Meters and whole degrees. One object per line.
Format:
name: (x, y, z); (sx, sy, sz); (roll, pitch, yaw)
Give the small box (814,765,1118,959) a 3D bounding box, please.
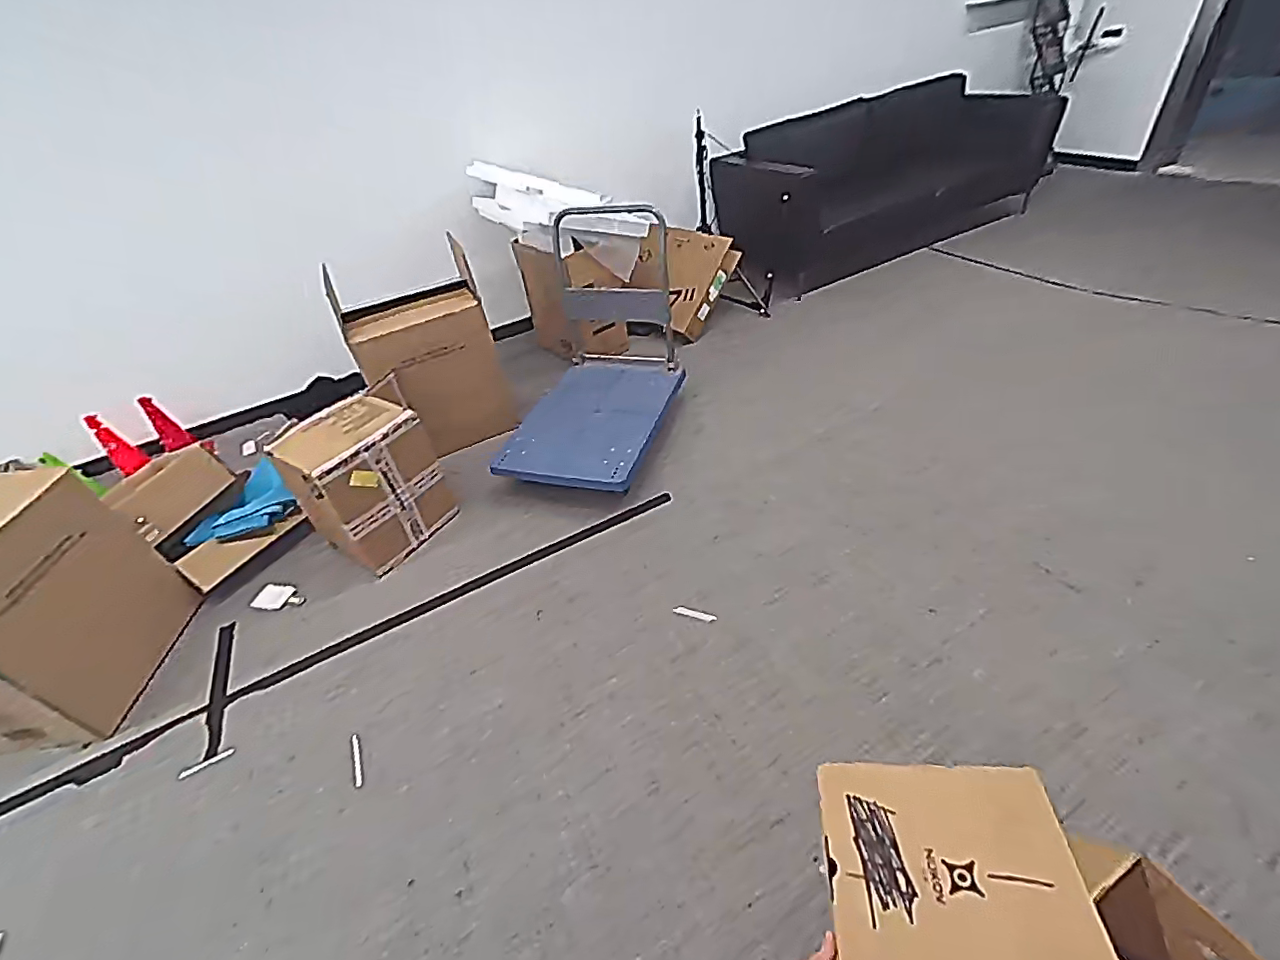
small box: (0.248, 0.357, 0.438); (0.179, 0.176, 0.168); (-8, 33, 16)
